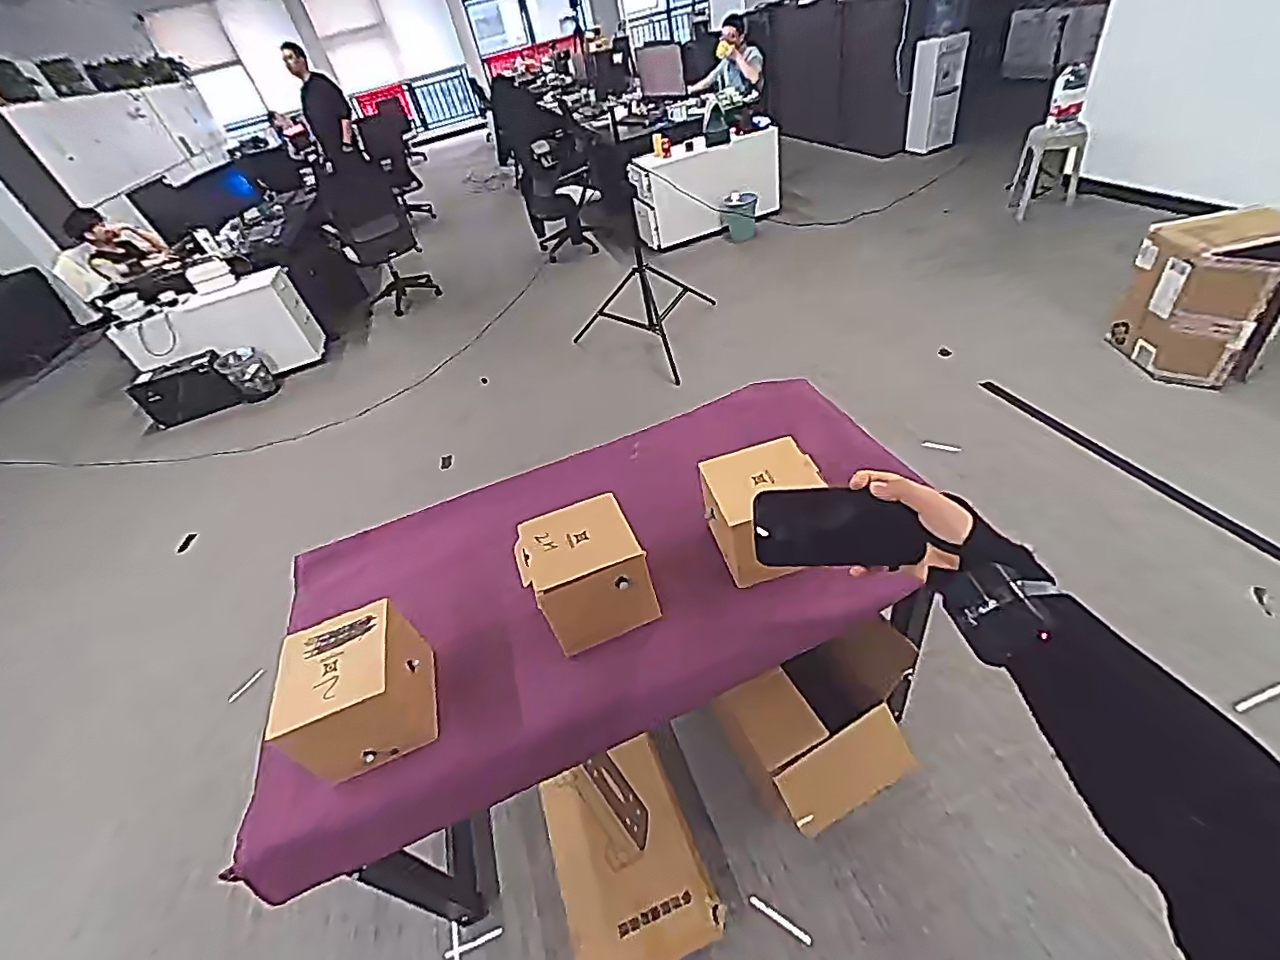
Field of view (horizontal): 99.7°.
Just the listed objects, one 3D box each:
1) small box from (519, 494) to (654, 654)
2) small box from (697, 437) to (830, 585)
[{"bbox_3d":[-0.086,0.160,0.919,0.179,0.176,0.168,-22,39,-8],"label":"small box"},{"bbox_3d":[0.215,0.057,0.946,0.179,0.176,0.168,-17,41,-3],"label":"small box"}]
